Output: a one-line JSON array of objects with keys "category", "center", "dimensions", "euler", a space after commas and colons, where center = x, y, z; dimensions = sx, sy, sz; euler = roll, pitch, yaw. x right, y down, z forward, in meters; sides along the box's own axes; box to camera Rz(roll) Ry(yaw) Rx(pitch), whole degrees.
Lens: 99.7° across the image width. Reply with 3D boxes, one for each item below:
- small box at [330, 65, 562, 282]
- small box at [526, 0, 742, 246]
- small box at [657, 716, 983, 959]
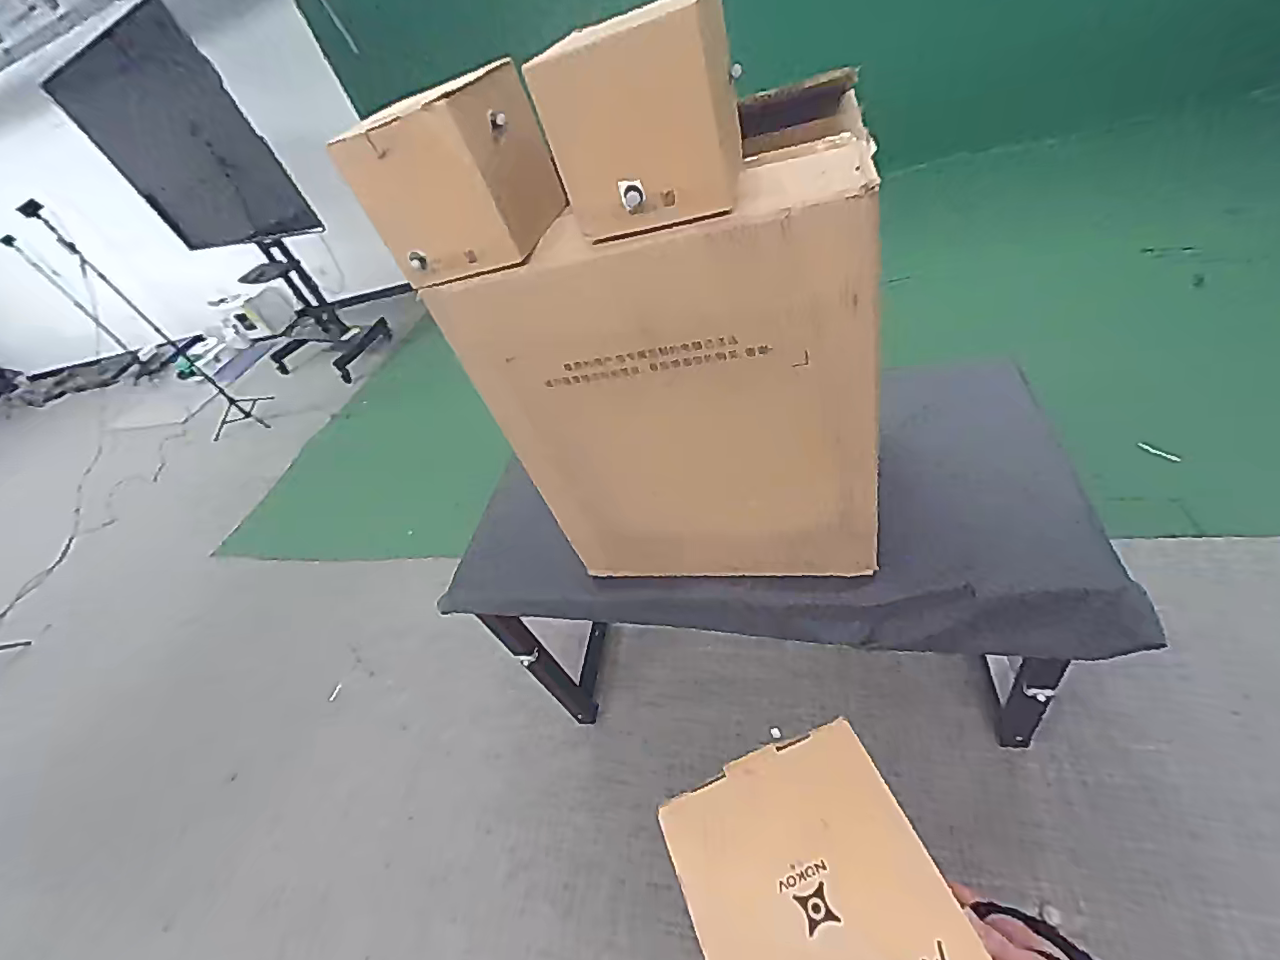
[{"category": "small box", "center": [-0.215, -0.357, 0.655], "dimensions": [0.168, 0.176, 0.179], "euler": [-4, 45, 22]}, {"category": "small box", "center": [0.010, -0.376, 0.573], "dimensions": [0.168, 0.176, 0.179], "euler": [-5, 46, 21]}, {"category": "small box", "center": [0.133, 0.324, 0.428], "dimensions": [0.168, 0.176, 0.179], "euler": [-26, 49, 0]}]
